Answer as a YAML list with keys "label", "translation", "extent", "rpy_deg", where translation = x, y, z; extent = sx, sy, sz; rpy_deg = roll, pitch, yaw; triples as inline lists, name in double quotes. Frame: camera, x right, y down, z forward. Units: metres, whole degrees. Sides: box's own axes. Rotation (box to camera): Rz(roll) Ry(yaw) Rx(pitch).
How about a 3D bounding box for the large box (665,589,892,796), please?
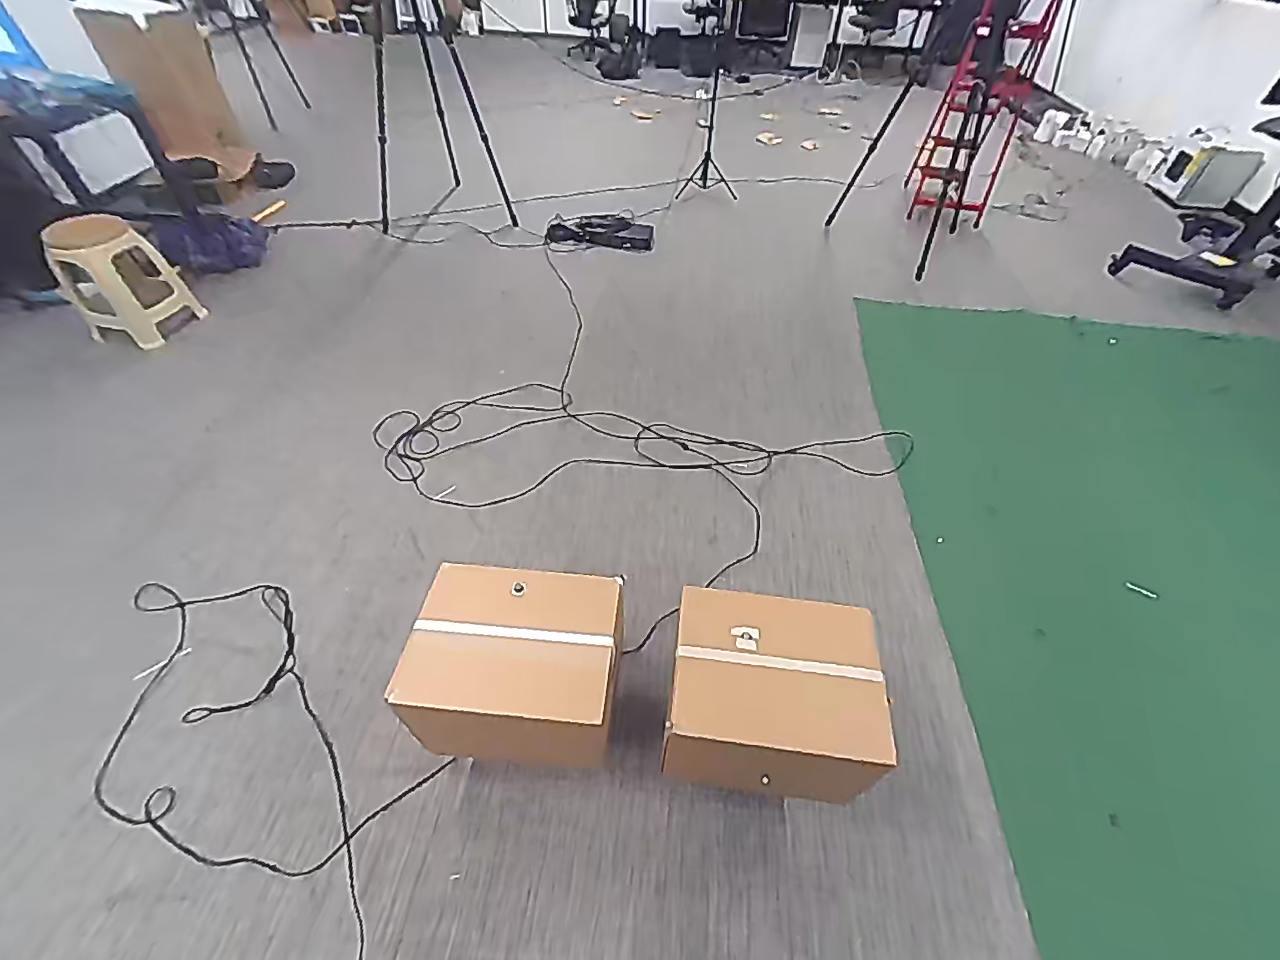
- label: "large box"
  translation: [0.274, 0.471, 1.188]
  extent: [0.408, 0.320, 0.320]
  rpy_deg: [6, 48, 5]
